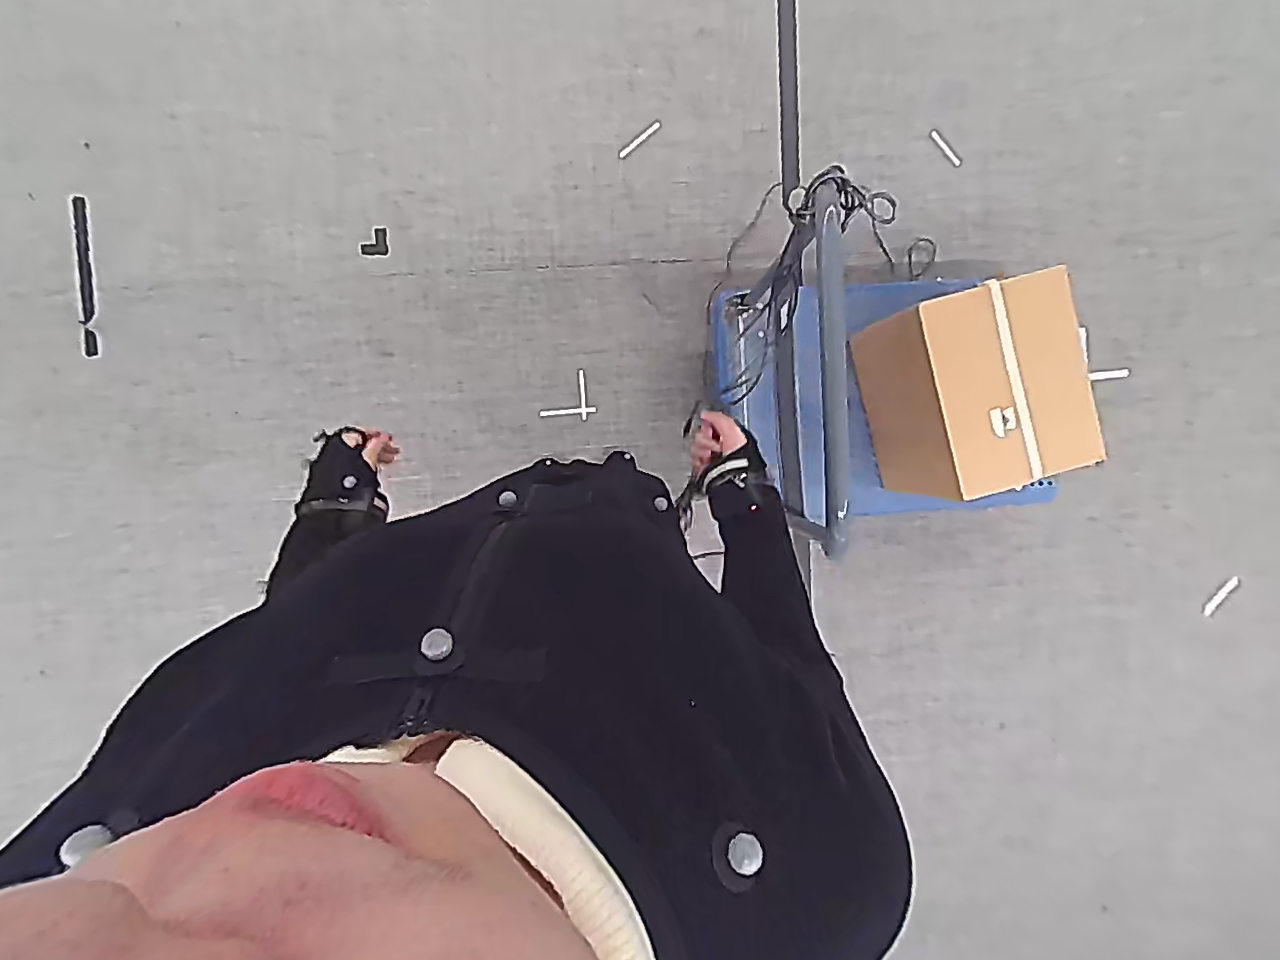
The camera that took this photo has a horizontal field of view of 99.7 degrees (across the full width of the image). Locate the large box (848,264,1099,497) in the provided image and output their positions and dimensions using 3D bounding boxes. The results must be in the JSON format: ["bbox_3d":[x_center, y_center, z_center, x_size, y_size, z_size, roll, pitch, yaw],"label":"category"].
[{"bbox_3d":[0.720,-0.206,1.216,0.320,0.320,0.408,-16,95,-2],"label":"large box"}]
